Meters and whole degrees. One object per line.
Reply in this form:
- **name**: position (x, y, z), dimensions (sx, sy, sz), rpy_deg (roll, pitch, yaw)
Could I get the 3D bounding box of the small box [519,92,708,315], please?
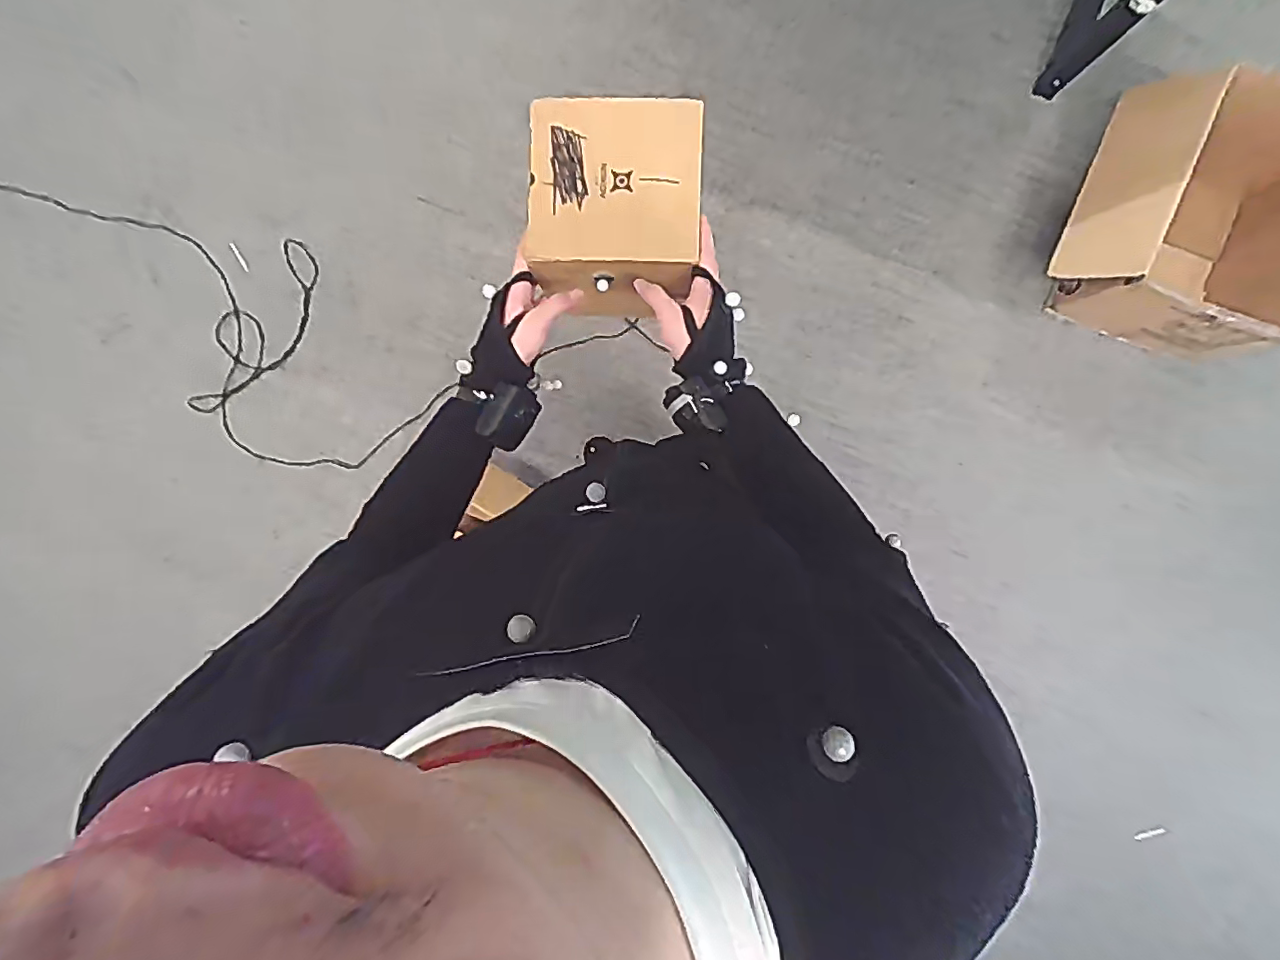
- **small box**: position (-0.022, -0.295, 0.611), dimensions (0.179, 0.176, 0.168), rpy_deg (5, 90, 3)
